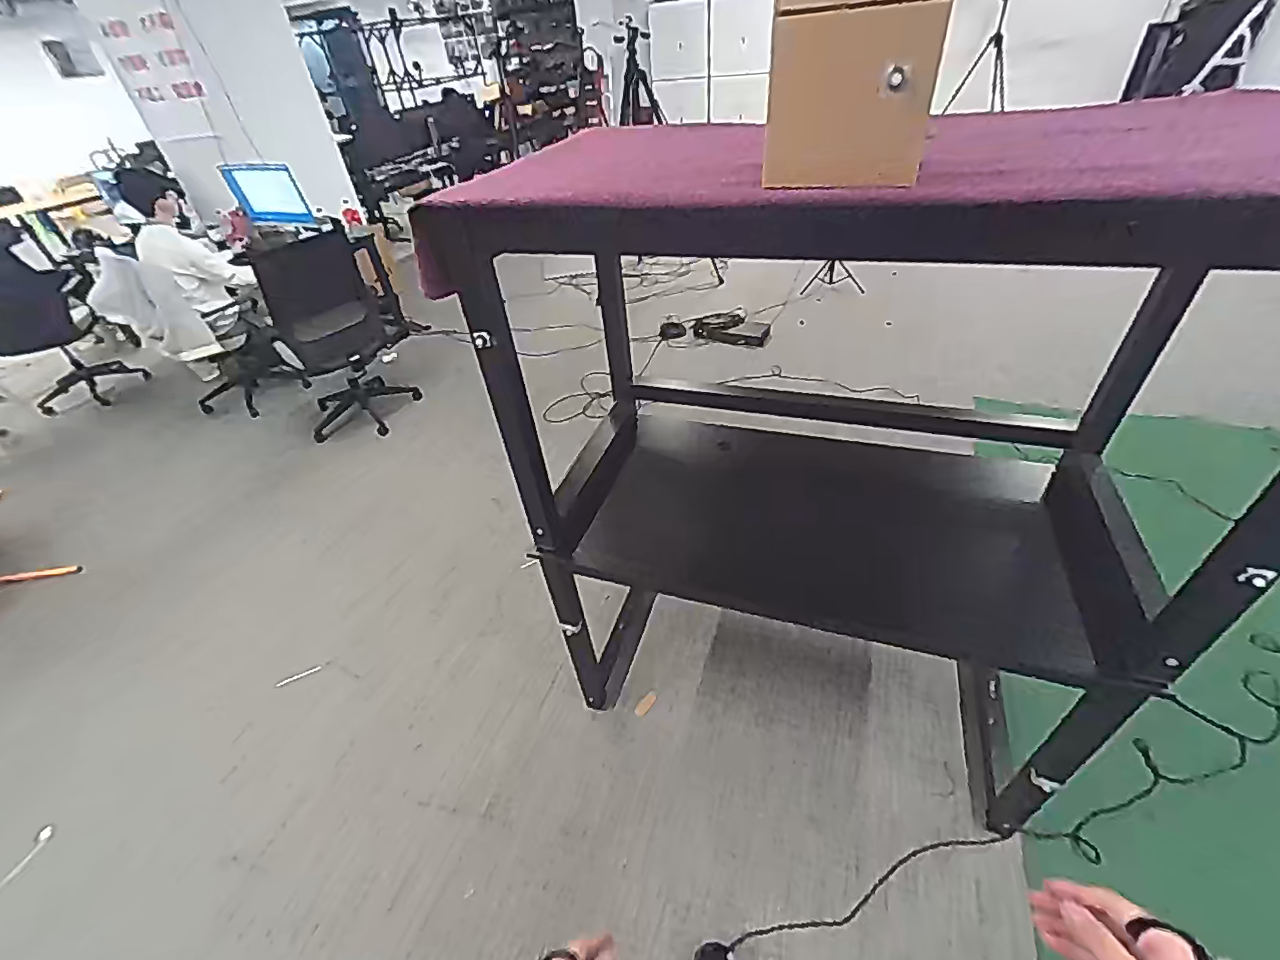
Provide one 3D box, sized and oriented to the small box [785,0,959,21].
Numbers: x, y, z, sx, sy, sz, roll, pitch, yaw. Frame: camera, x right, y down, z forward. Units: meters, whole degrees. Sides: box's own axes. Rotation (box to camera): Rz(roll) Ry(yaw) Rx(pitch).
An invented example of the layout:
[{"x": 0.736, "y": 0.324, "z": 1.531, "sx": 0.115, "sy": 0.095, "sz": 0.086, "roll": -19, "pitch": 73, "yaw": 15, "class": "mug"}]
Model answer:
[{"x": 0.250, "y": -0.583, "z": 0.547, "sx": 0.179, "sy": 0.176, "sz": 0.168, "roll": 10, "pitch": 42, "yaw": 20, "class": "small box"}]
